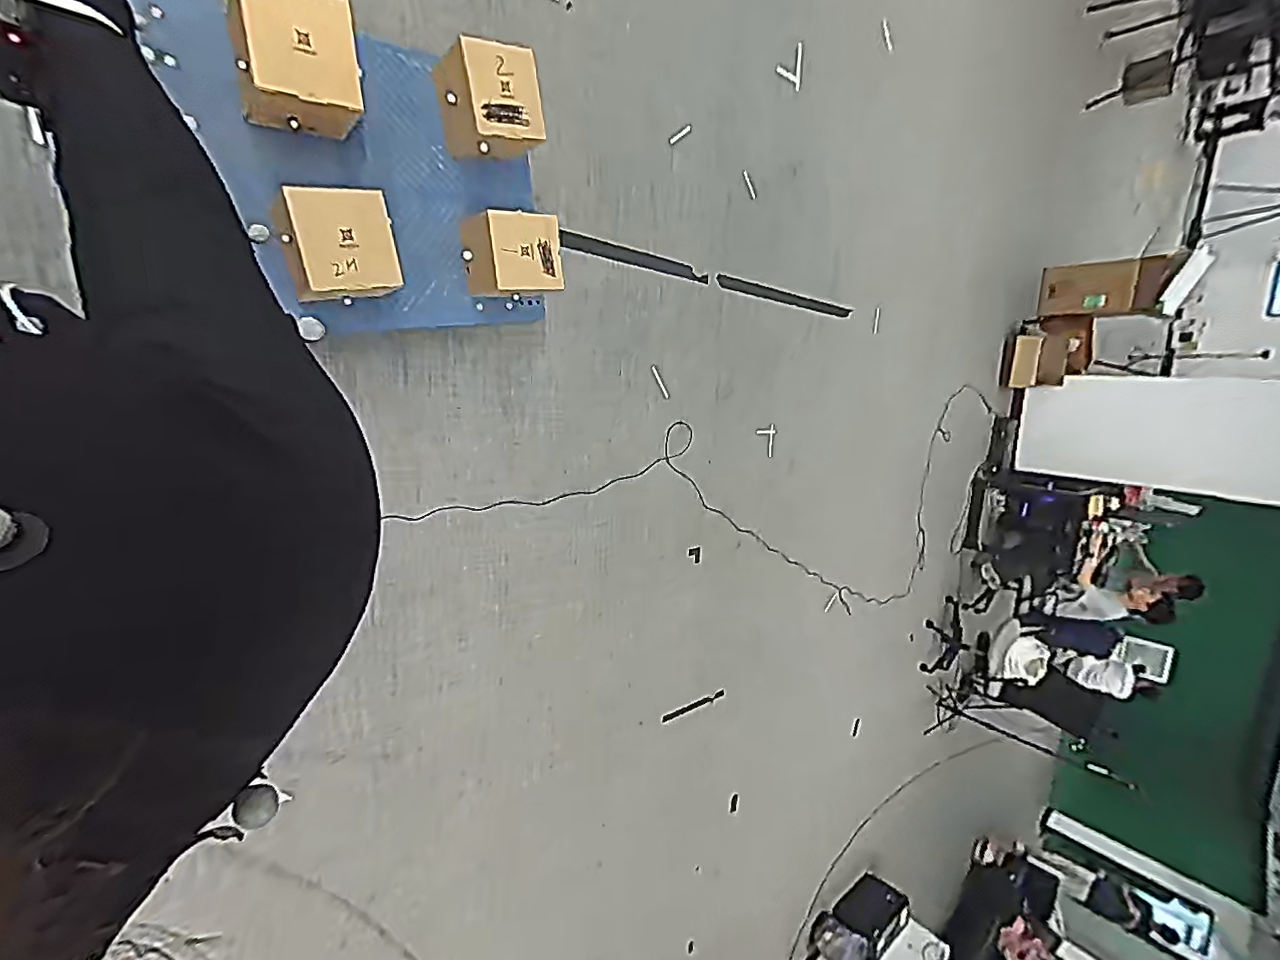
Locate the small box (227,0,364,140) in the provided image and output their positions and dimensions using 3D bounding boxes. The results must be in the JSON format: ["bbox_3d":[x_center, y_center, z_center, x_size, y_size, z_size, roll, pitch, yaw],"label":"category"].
[{"bbox_3d":[-0.622,-0.749,0.974,0.168,0.176,0.179,-14,109,-39],"label":"small box"}]

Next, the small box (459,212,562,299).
[{"bbox_3d":[-0.309,-0.528,1.289,0.179,0.176,0.168,-16,108,-37],"label":"small box"}]

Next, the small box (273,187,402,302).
[{"bbox_3d":[-0.593,-0.452,1.058,0.168,0.176,0.179,-20,111,-37],"label":"small box"}]
